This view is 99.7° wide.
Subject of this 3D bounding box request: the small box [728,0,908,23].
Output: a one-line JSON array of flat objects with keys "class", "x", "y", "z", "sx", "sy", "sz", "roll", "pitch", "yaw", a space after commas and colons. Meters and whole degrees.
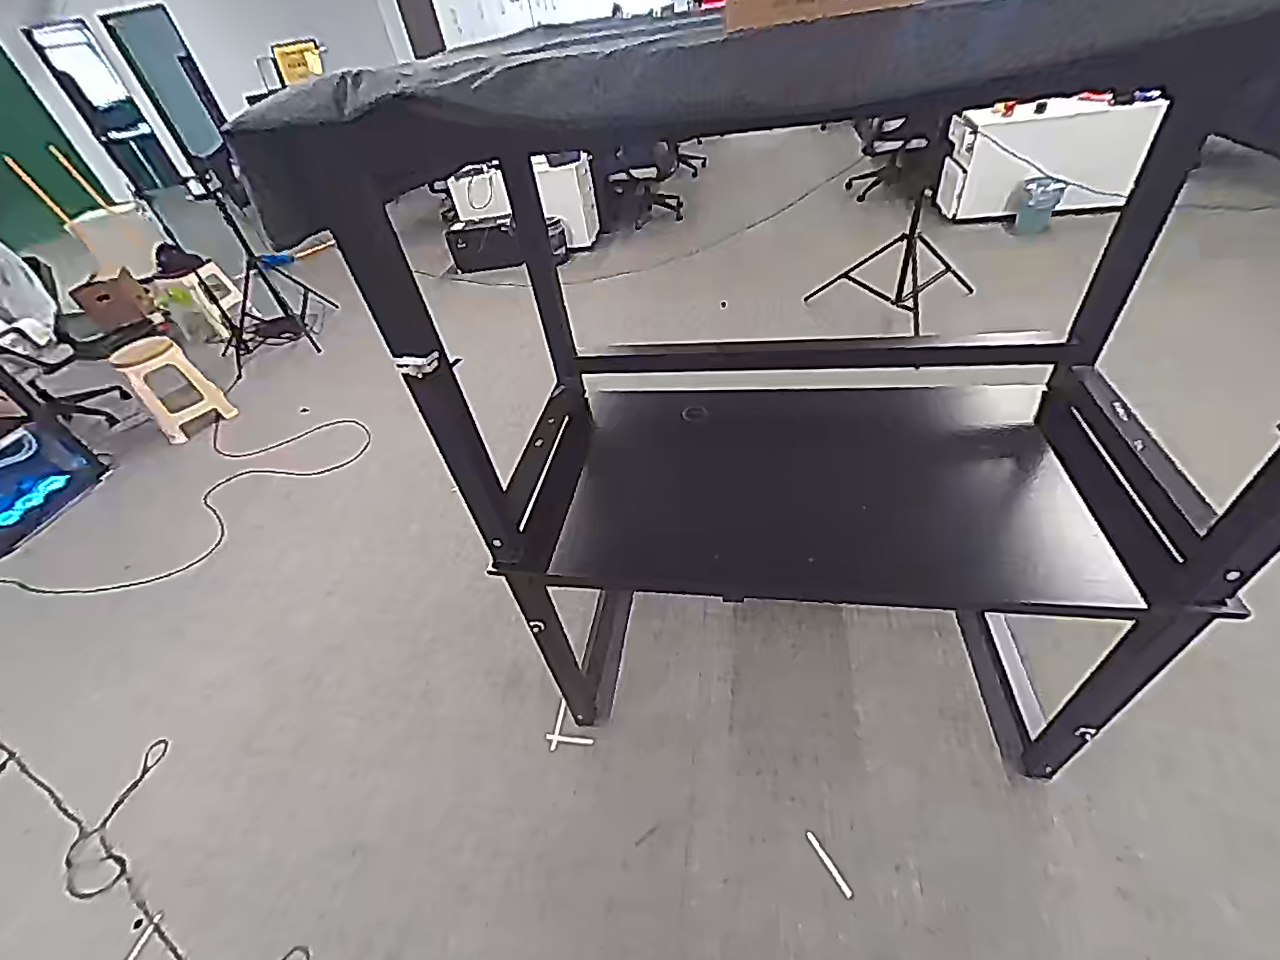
[{"class": "small box", "x": 0.162, "y": -0.516, "z": 0.470, "sx": 0.168, "sy": 0.176, "sz": 0.179, "roll": 2, "pitch": 41, "yaw": 13}]
